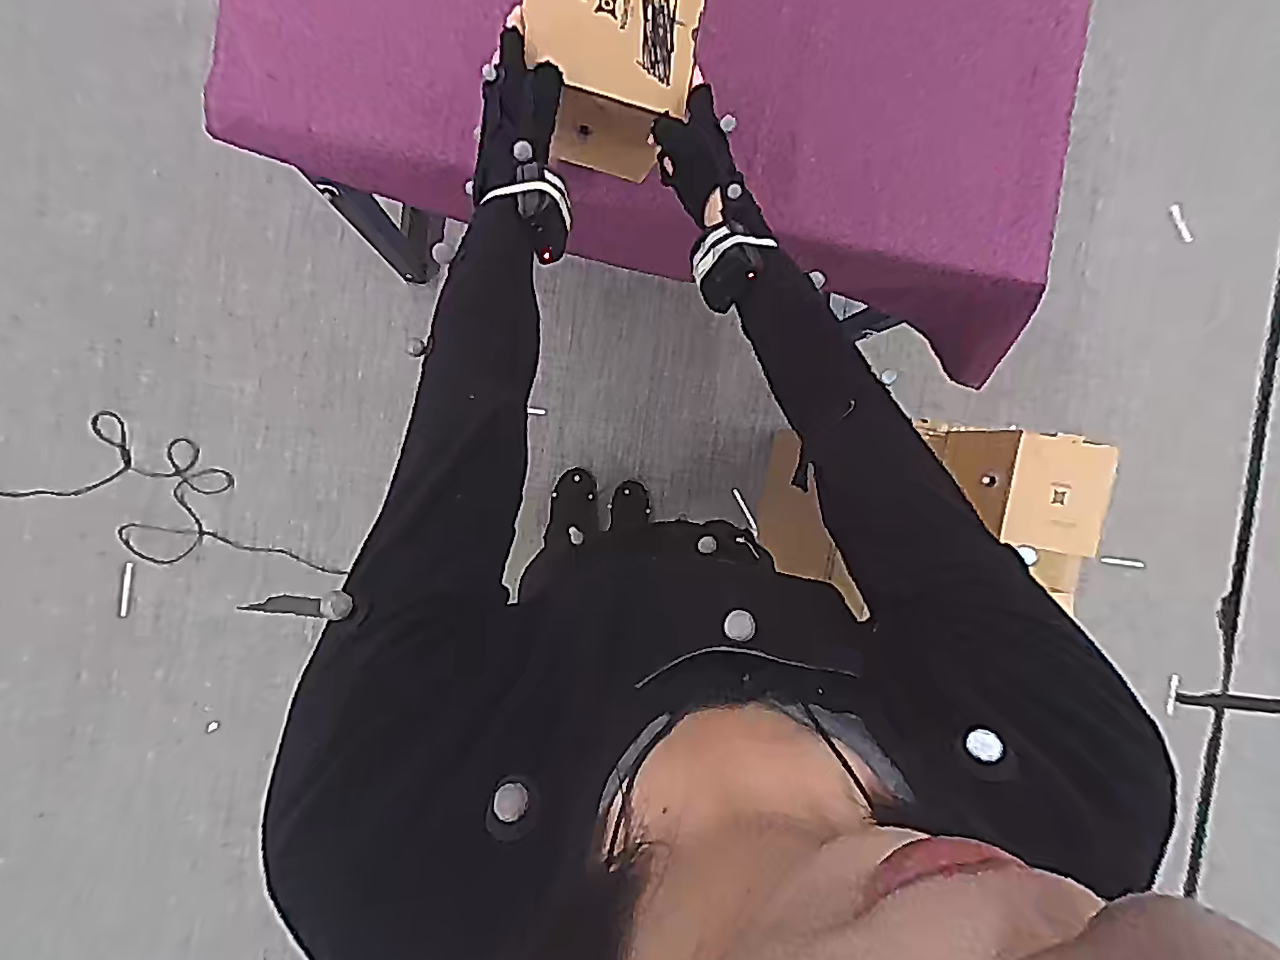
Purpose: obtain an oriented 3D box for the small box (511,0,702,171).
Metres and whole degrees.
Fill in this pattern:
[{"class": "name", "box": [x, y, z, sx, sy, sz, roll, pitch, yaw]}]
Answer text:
[{"class": "small box", "box": [-0.045, -0.477, 0.608, 0.179, 0.176, 0.168, 8, 97, -15]}]
